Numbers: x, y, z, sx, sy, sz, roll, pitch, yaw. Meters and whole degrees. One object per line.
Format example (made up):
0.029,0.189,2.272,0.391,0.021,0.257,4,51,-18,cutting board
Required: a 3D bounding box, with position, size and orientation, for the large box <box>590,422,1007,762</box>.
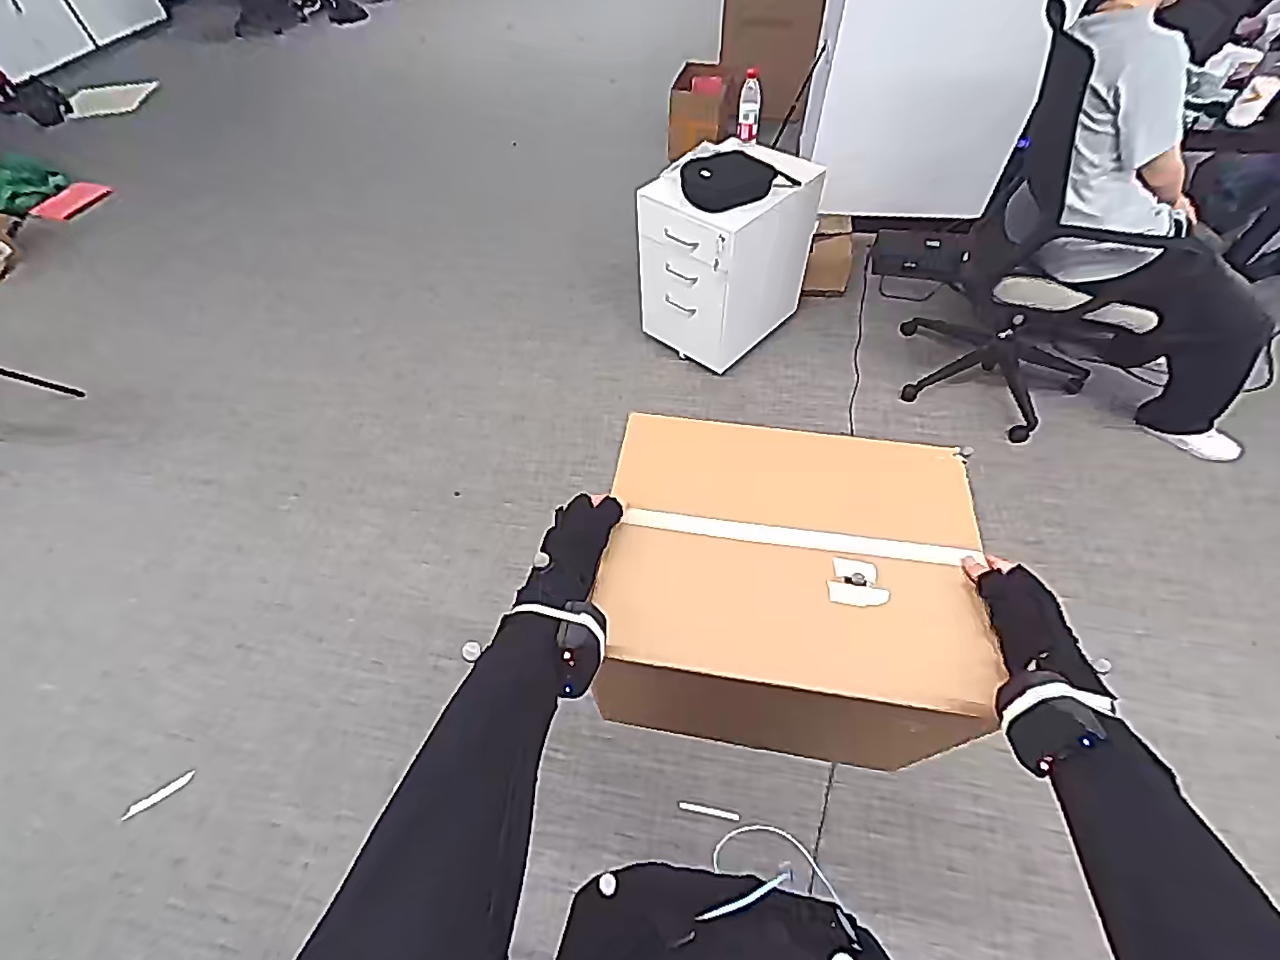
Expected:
0.168,0.155,0.720,0.408,0.320,0.320,8,56,7,large box
